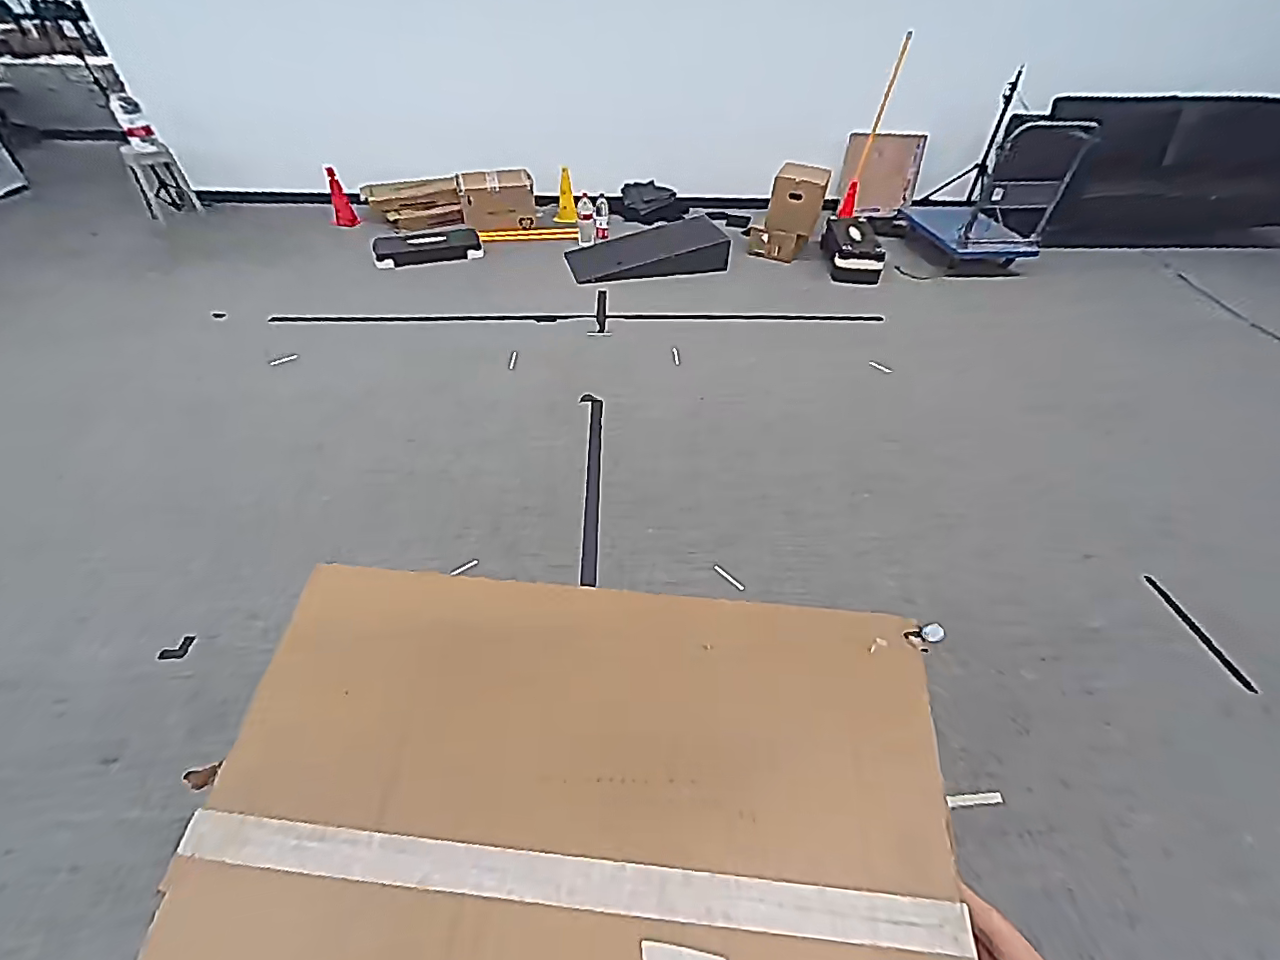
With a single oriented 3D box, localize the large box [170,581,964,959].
[{"bbox_3d":[-0.034,0.290,0.415,0.408,0.320,0.320,4,59,3],"label":"large box"}]
